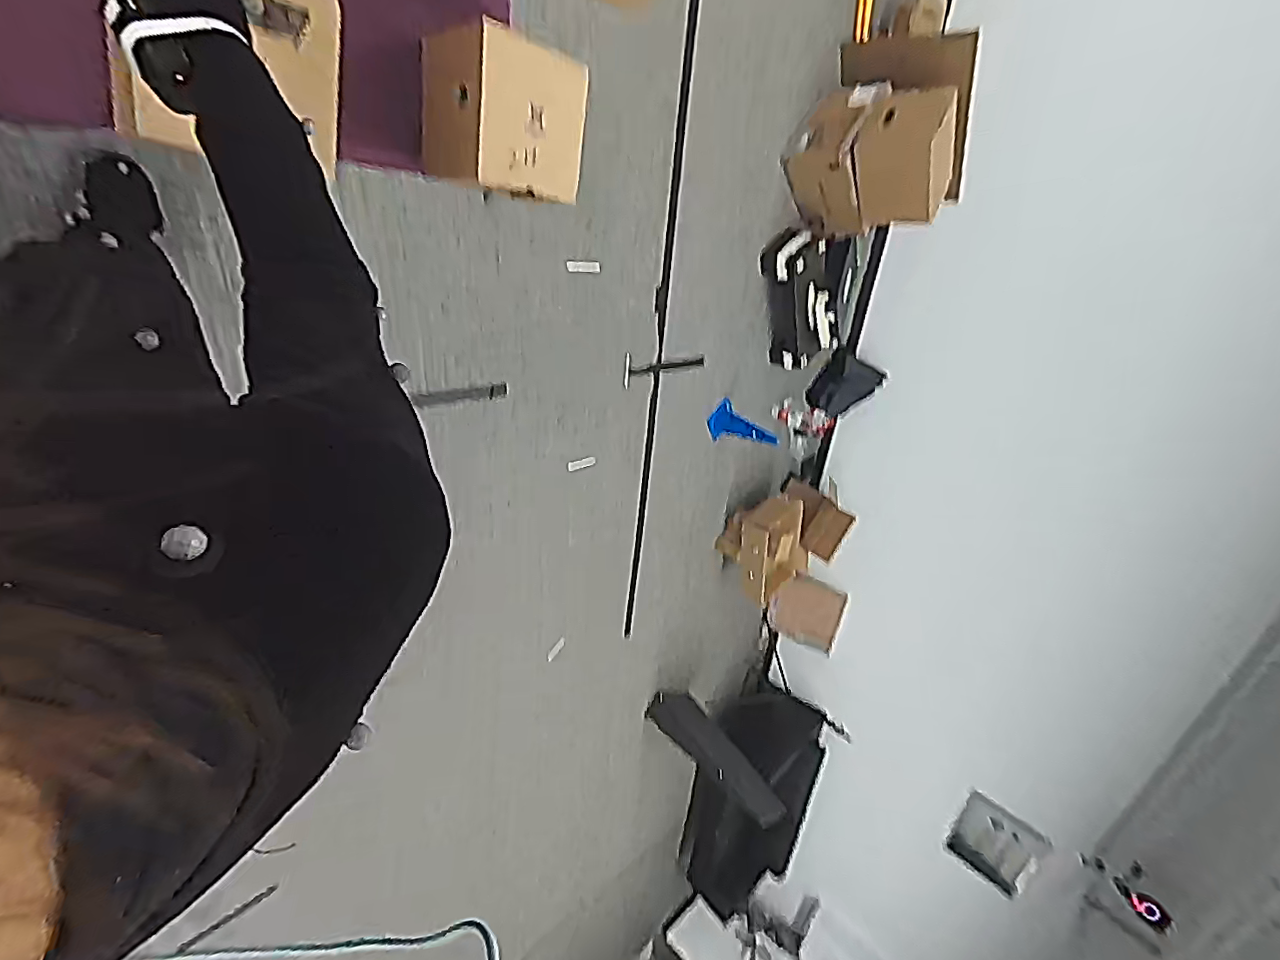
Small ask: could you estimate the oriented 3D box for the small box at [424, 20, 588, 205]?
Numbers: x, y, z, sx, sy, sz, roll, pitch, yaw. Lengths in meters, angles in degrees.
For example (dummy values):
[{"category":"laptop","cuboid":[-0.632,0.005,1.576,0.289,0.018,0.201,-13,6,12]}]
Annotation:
[{"category":"small box","cuboid":[-0.198,-0.512,0.781,0.168,0.176,0.179,-12,121,-43]}]
